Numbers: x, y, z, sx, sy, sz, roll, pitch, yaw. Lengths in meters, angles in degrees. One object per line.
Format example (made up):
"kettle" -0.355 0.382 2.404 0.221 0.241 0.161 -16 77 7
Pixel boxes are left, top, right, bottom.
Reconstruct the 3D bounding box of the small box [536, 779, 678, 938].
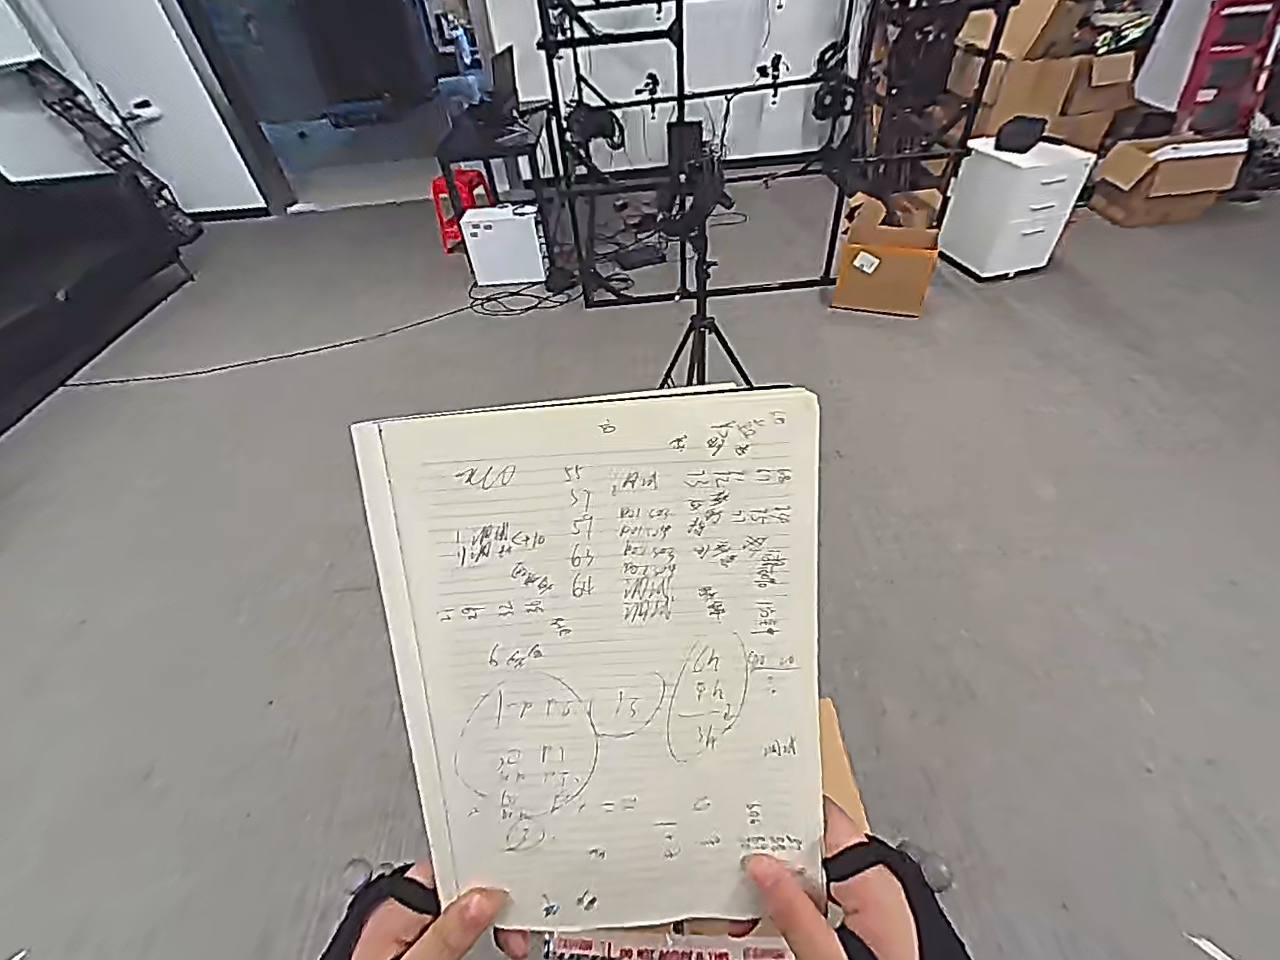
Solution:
"small box" -0.035 0.560 0.798 0.179 0.176 0.168 -1 46 8

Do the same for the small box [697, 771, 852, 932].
"small box" 0.181 0.545 0.792 0.179 0.176 0.168 -5 46 -1
